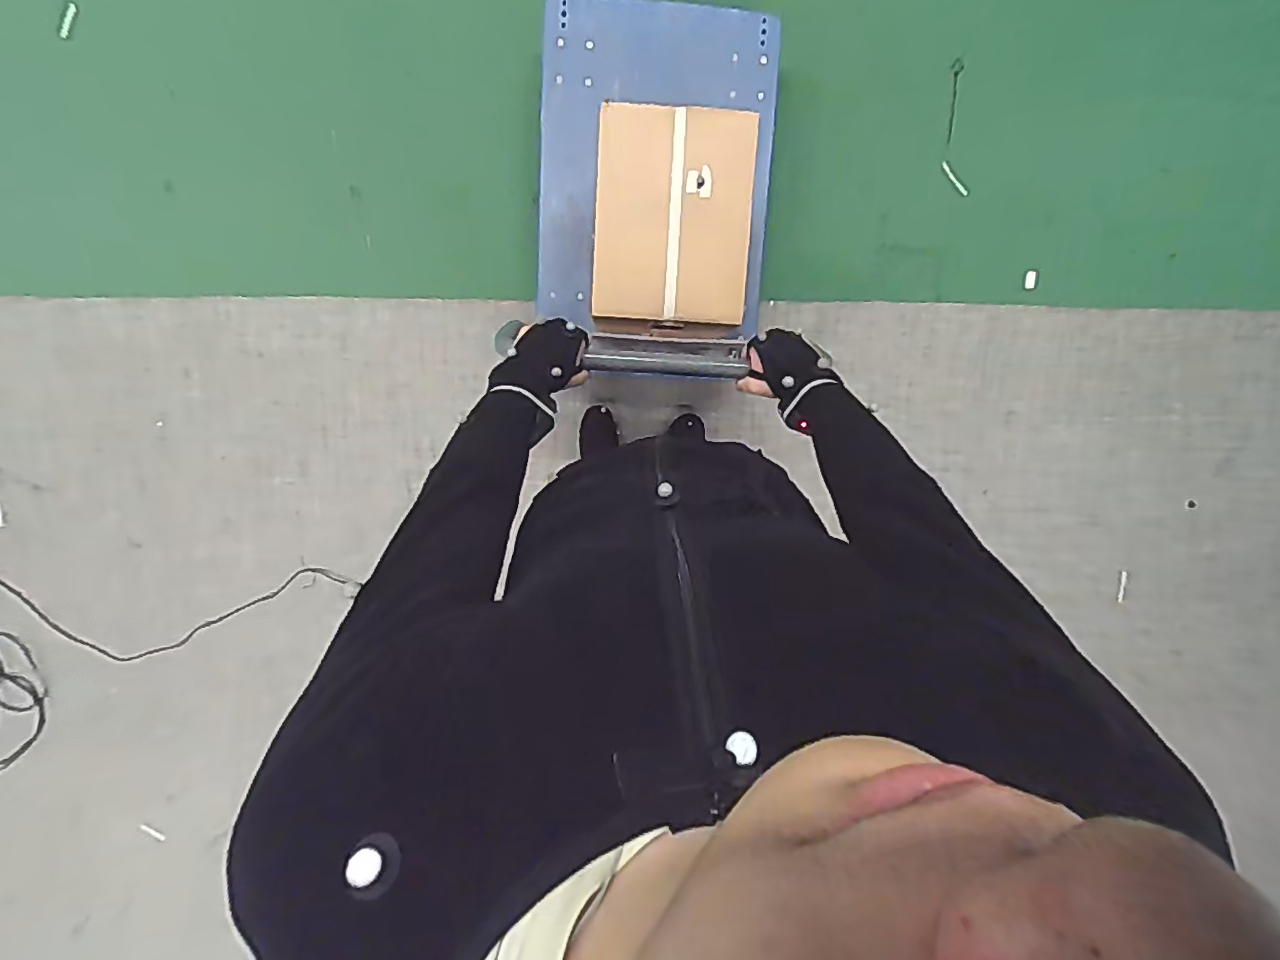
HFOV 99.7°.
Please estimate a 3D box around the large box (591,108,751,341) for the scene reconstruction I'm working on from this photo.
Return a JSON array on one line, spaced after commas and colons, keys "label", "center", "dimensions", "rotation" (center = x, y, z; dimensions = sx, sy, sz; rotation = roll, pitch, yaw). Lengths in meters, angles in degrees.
[{"label": "large box", "center": [0.057, -0.541, 1.228], "dimensions": [0.320, 0.320, 0.408], "rotation": [2, 97, -3]}]
